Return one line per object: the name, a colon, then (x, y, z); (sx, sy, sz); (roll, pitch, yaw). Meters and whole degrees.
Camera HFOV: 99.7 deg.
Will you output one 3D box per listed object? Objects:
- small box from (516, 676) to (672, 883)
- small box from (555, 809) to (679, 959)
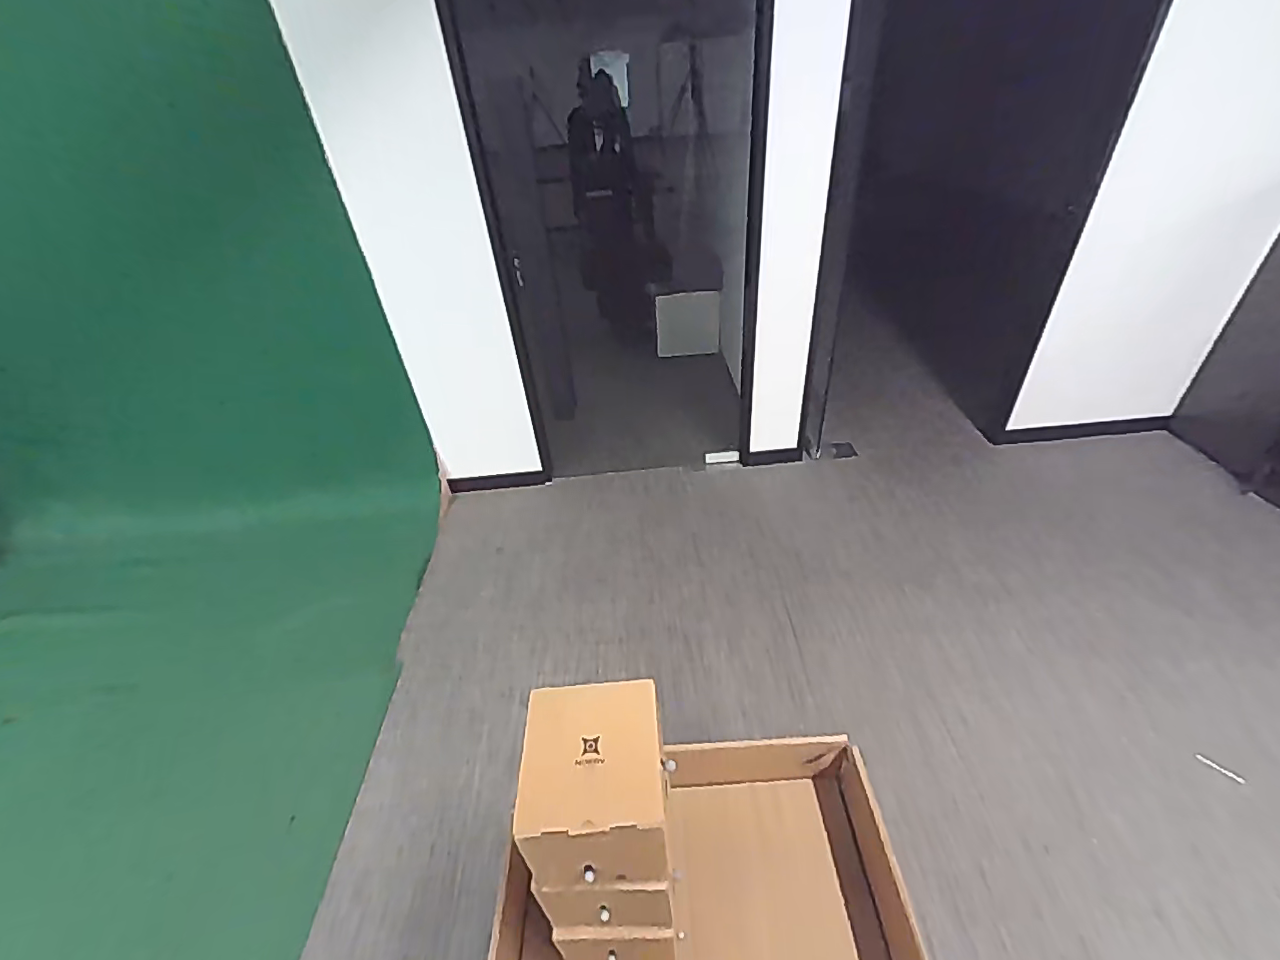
small box: (-0.049, 0.379, 0.691); (0.168, 0.176, 0.179); (-5, 37, 1)
small box: (-0.027, 0.652, 0.869); (0.179, 0.176, 0.168); (-3, 37, 3)
